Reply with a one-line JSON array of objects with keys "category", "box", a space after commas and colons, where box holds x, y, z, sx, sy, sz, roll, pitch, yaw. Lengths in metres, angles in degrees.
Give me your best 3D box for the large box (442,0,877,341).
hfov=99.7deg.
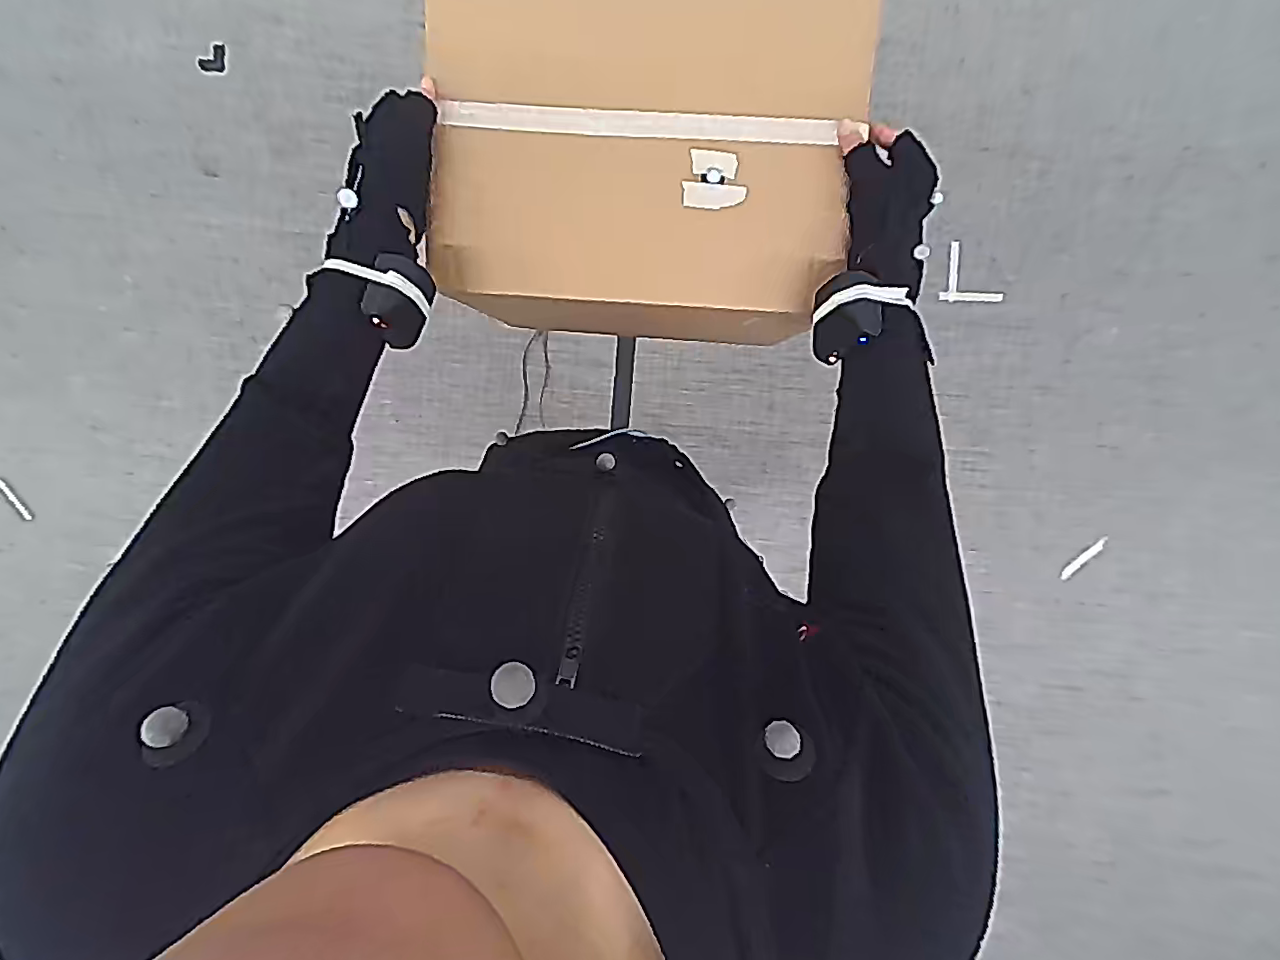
[{"category": "large box", "box": [0.012, -0.350, 0.656, 0.408, 0.320, 0.320, 4, 99, 1]}]
